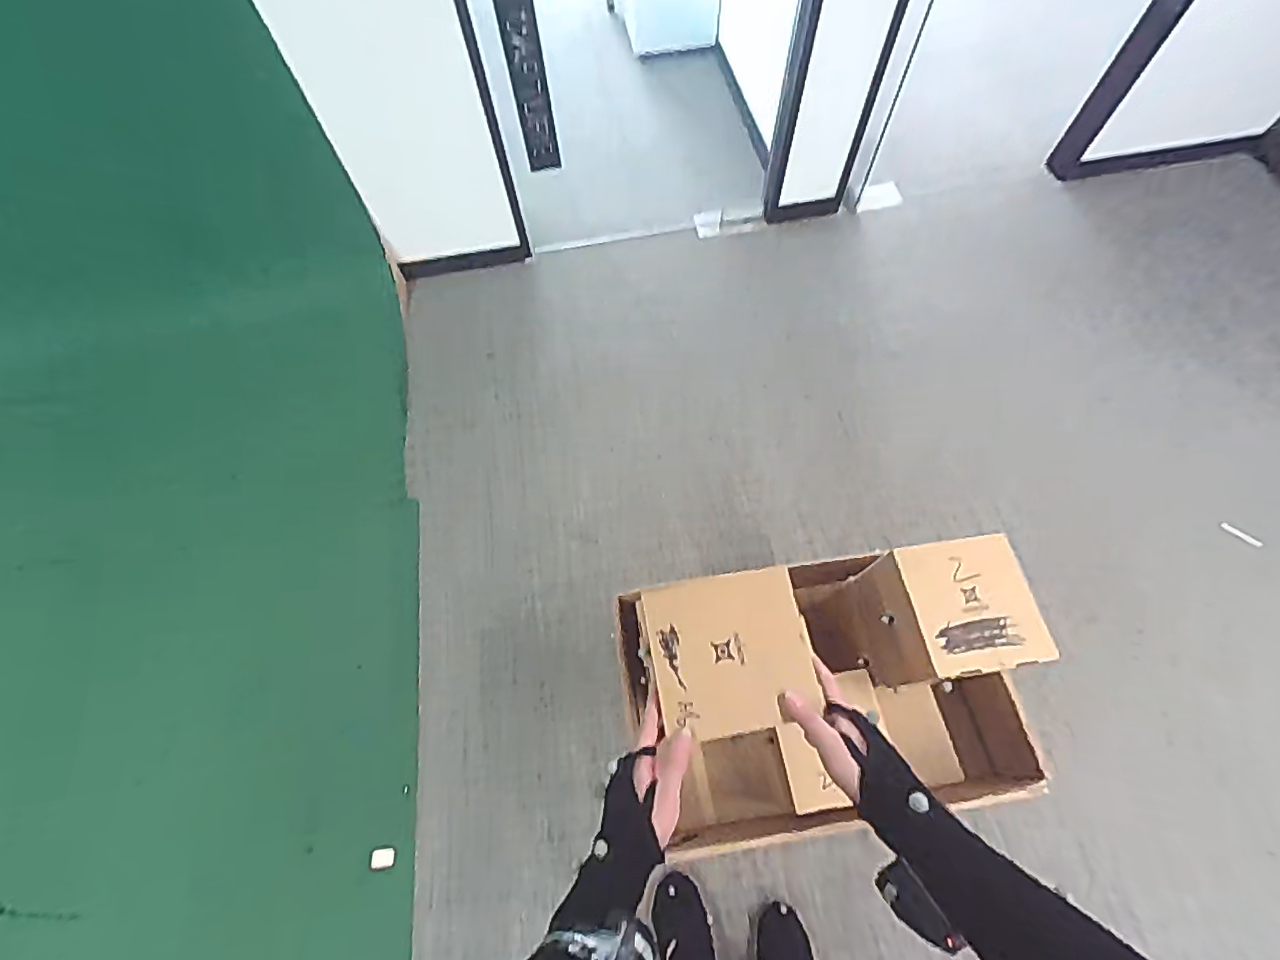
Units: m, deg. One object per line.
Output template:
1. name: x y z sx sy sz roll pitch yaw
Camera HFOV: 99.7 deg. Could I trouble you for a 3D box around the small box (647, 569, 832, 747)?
1. small box: 0.106 0.220 0.662 0.179 0.176 0.168 -9 65 -2
